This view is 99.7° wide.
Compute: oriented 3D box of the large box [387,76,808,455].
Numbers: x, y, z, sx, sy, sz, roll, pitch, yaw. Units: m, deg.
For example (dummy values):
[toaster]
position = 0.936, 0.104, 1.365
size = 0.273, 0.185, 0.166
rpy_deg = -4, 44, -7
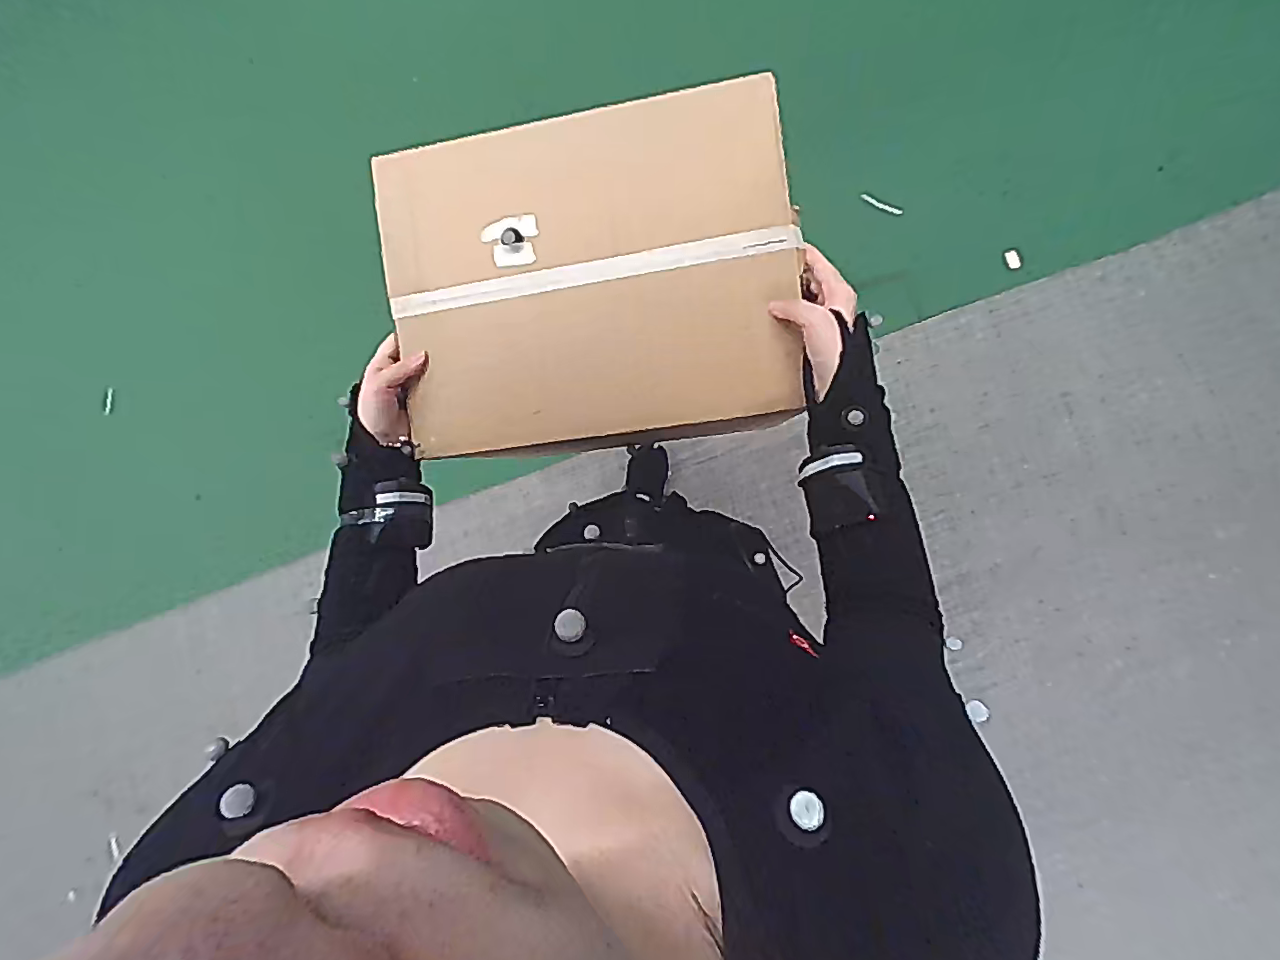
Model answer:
[large box]
position = -0.029, -0.213, 0.688
size = 0.408, 0.320, 0.320
rpy_deg = -7, 91, 9
